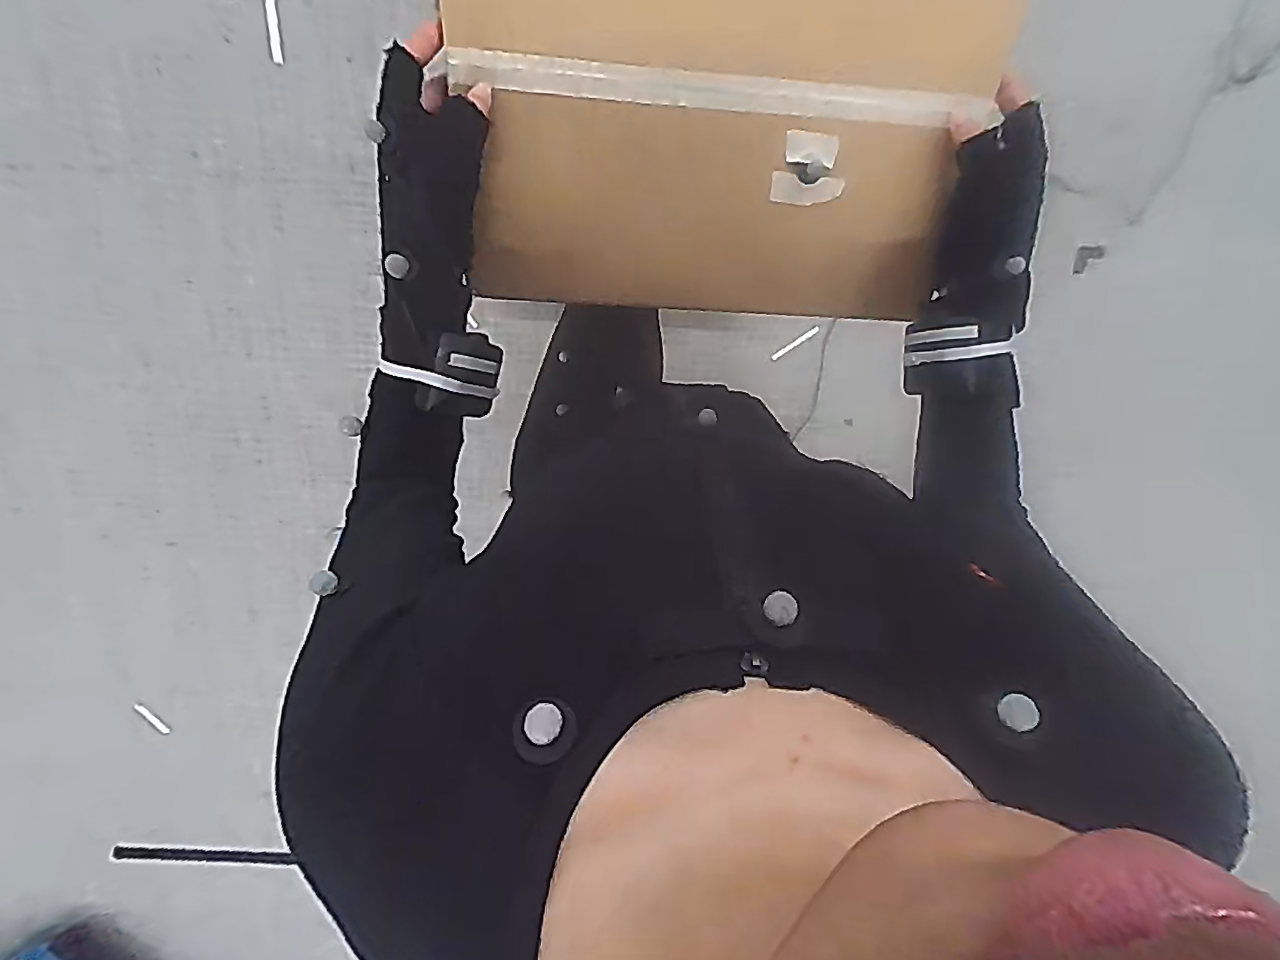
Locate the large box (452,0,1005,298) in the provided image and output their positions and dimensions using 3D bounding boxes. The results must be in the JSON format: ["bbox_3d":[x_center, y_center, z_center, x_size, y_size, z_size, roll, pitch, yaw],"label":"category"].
[{"bbox_3d":[0.051,-0.372,0.535,0.408,0.320,0.320,0,120,-7],"label":"large box"}]
